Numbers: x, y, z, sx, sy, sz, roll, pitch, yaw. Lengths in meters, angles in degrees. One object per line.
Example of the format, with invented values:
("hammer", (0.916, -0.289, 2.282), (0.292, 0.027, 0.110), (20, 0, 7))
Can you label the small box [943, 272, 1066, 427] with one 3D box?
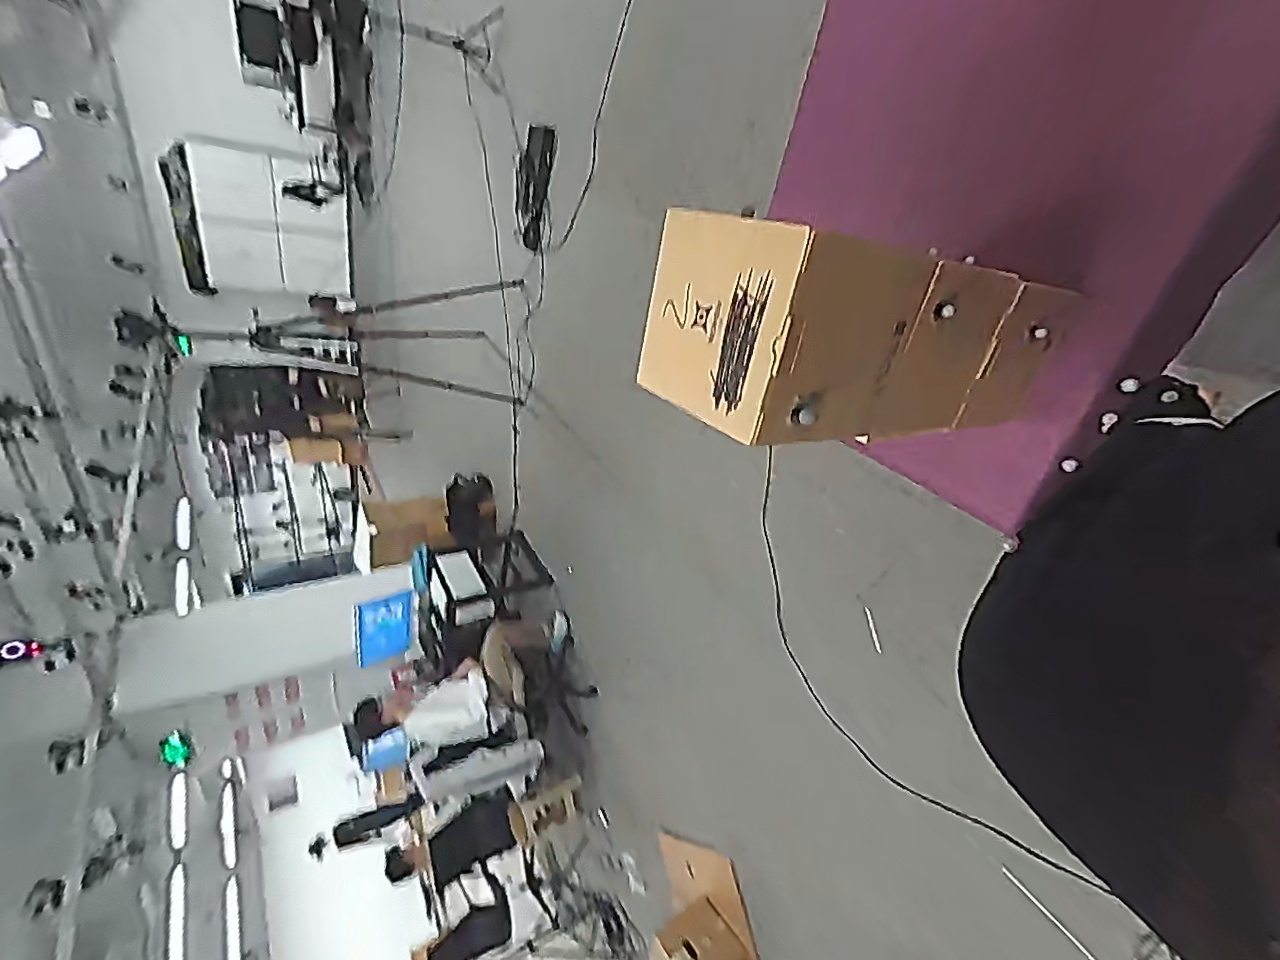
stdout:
("small box", (0.394, -0.183, 0.696), (0.179, 0.176, 0.168), (41, 128, 44))

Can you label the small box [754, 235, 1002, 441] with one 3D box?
("small box", (0.262, -0.159, 0.606), (0.168, 0.176, 0.179), (38, 125, 44))
